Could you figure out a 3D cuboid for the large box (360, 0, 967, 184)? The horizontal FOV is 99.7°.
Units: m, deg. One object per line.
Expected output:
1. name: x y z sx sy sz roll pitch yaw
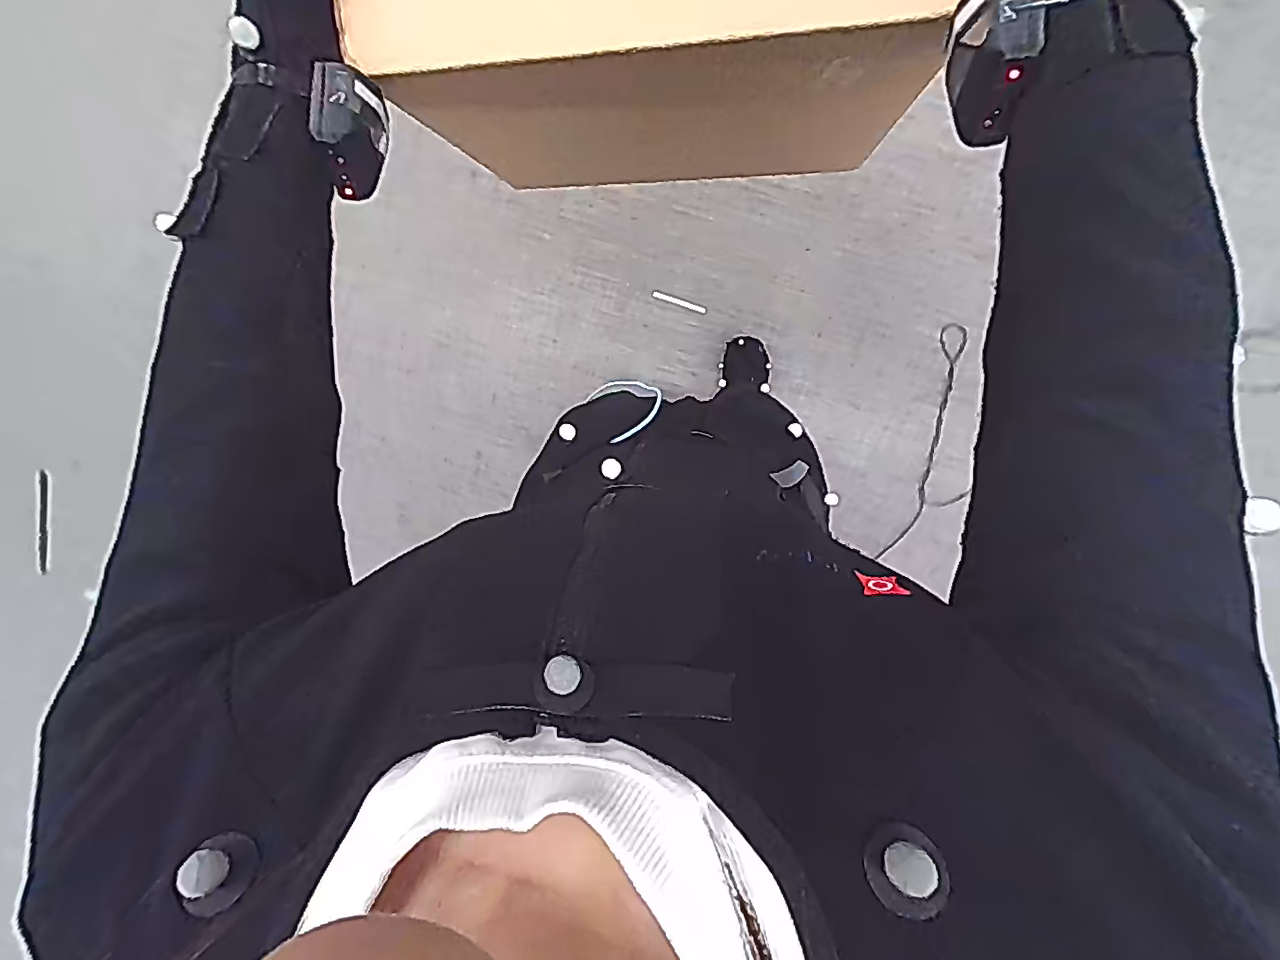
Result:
1. large box: 0.020 -0.471 0.451 0.408 0.320 0.320 0 106 8
